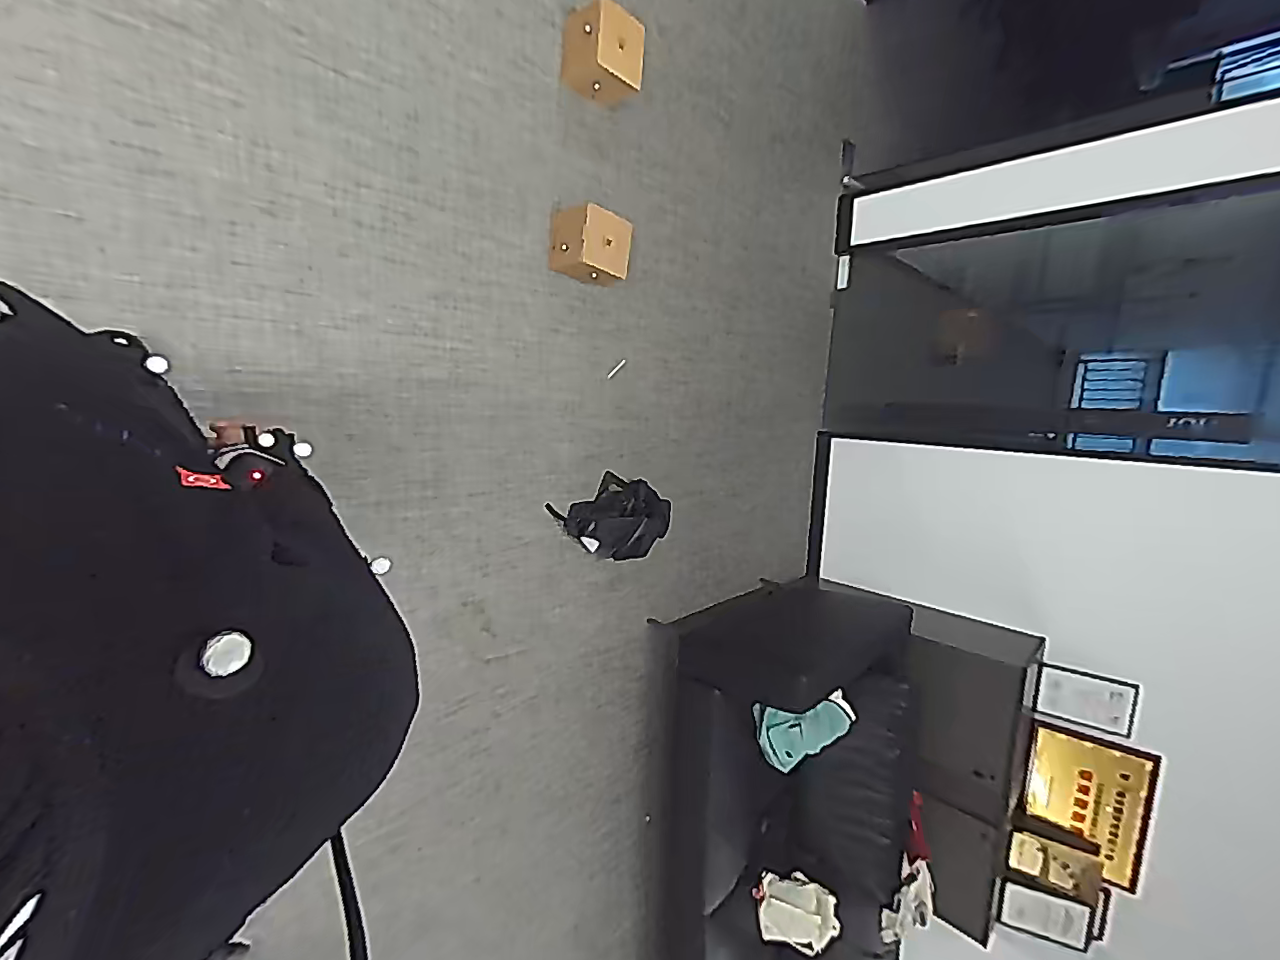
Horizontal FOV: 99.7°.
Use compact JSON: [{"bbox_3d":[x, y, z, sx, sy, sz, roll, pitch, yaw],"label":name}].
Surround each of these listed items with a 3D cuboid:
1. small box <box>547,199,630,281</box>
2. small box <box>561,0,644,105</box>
[{"bbox_3d":[-0.156,-0.702,1.607,0.179,0.176,0.168,3,98,-47],"label":"small box"},{"bbox_3d":[-0.110,-1.219,1.545,0.168,0.176,0.179,-2,100,-45],"label":"small box"}]
